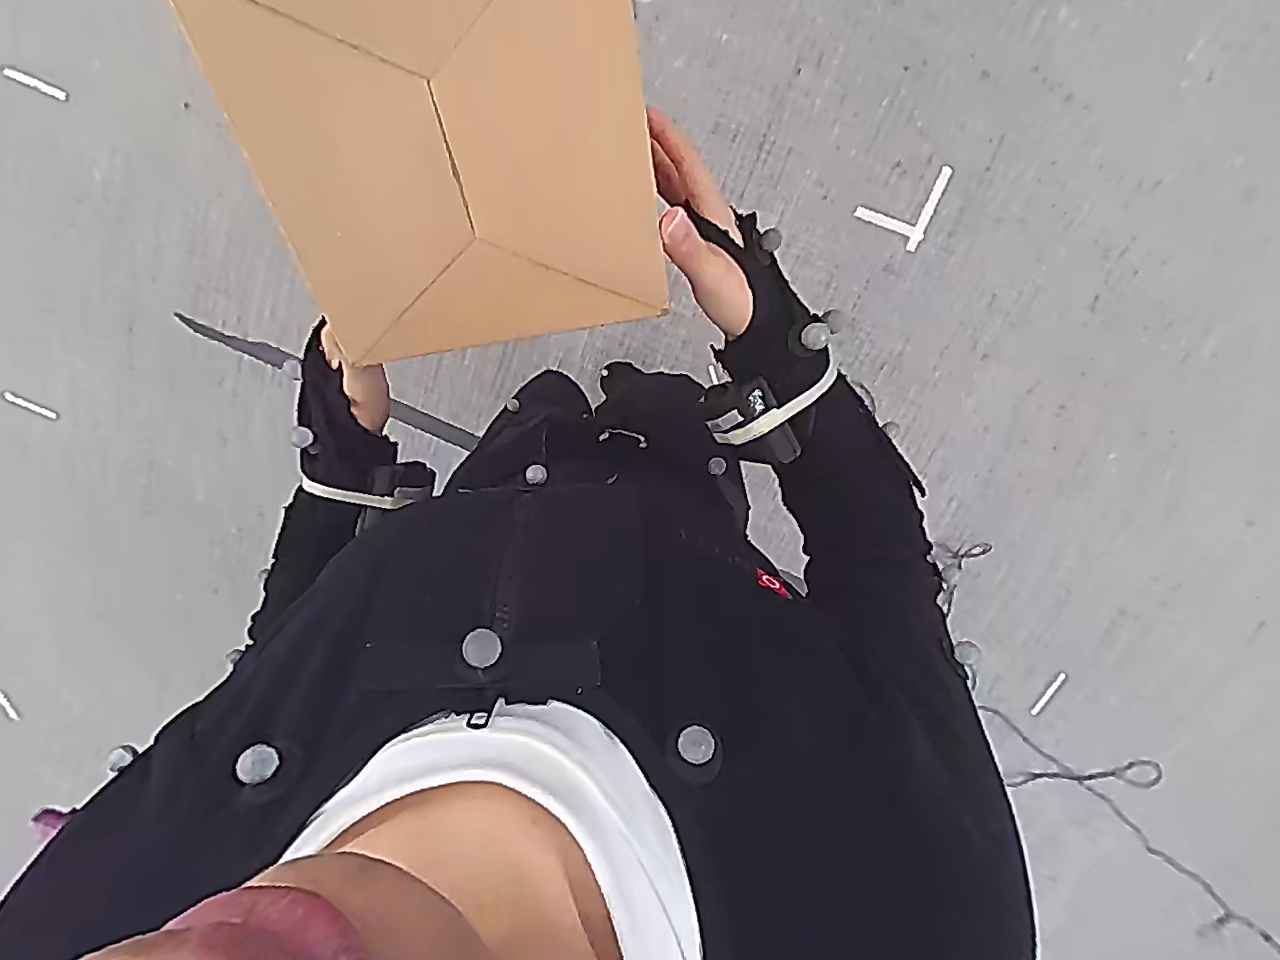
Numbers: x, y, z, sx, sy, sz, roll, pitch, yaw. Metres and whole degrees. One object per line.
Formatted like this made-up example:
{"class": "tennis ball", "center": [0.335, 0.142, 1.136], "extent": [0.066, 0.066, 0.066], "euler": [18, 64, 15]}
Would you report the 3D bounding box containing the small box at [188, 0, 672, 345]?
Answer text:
{"class": "small box", "center": [-0.079, -0.189, 0.302], "extent": [0.179, 0.176, 0.168], "euler": [-8, 125, 3]}
